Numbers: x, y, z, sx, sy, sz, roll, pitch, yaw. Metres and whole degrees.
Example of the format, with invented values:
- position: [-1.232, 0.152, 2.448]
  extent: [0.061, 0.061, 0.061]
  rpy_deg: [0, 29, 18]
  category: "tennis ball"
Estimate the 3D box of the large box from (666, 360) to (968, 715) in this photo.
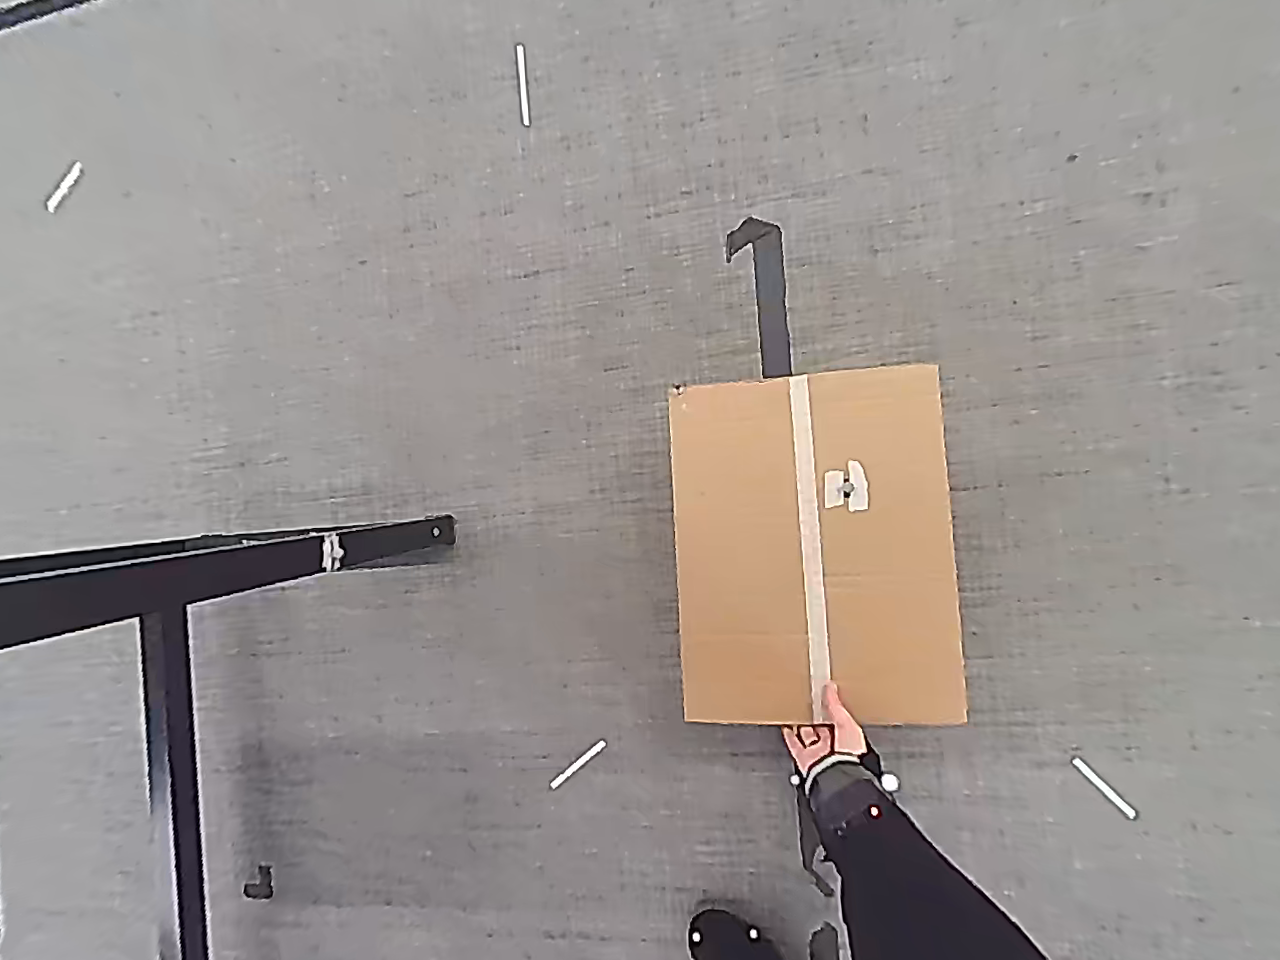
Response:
- position: [0.220, 0.082, 0.773]
  extent: [0.320, 0.320, 0.408]
  rpy_deg: [-4, 84, 9]
  category: "large box"
